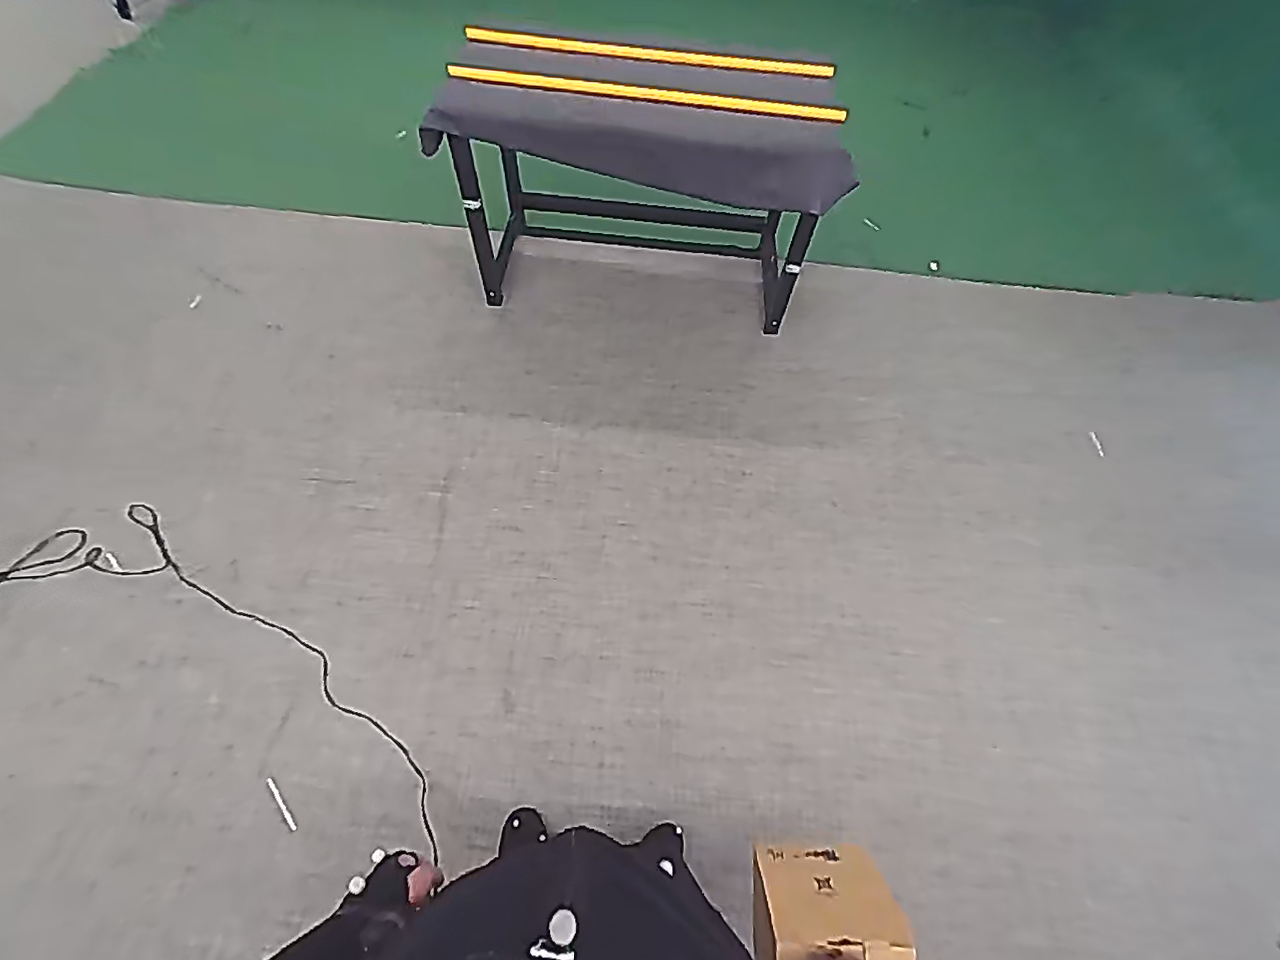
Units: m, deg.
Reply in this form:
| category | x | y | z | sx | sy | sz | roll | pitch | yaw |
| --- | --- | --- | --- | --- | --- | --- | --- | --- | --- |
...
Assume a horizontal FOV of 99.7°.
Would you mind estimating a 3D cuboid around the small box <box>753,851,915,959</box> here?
| category | x | y | z | sx | sy | sz | roll | pitch | yaw |
| --- | --- | --- | --- | --- | --- | --- | --- | --- | --- |
| small box | 0.253 | 0.640 | 0.722 | 0.168 | 0.179 | 0.176 | -3 | 89 | 1 |
